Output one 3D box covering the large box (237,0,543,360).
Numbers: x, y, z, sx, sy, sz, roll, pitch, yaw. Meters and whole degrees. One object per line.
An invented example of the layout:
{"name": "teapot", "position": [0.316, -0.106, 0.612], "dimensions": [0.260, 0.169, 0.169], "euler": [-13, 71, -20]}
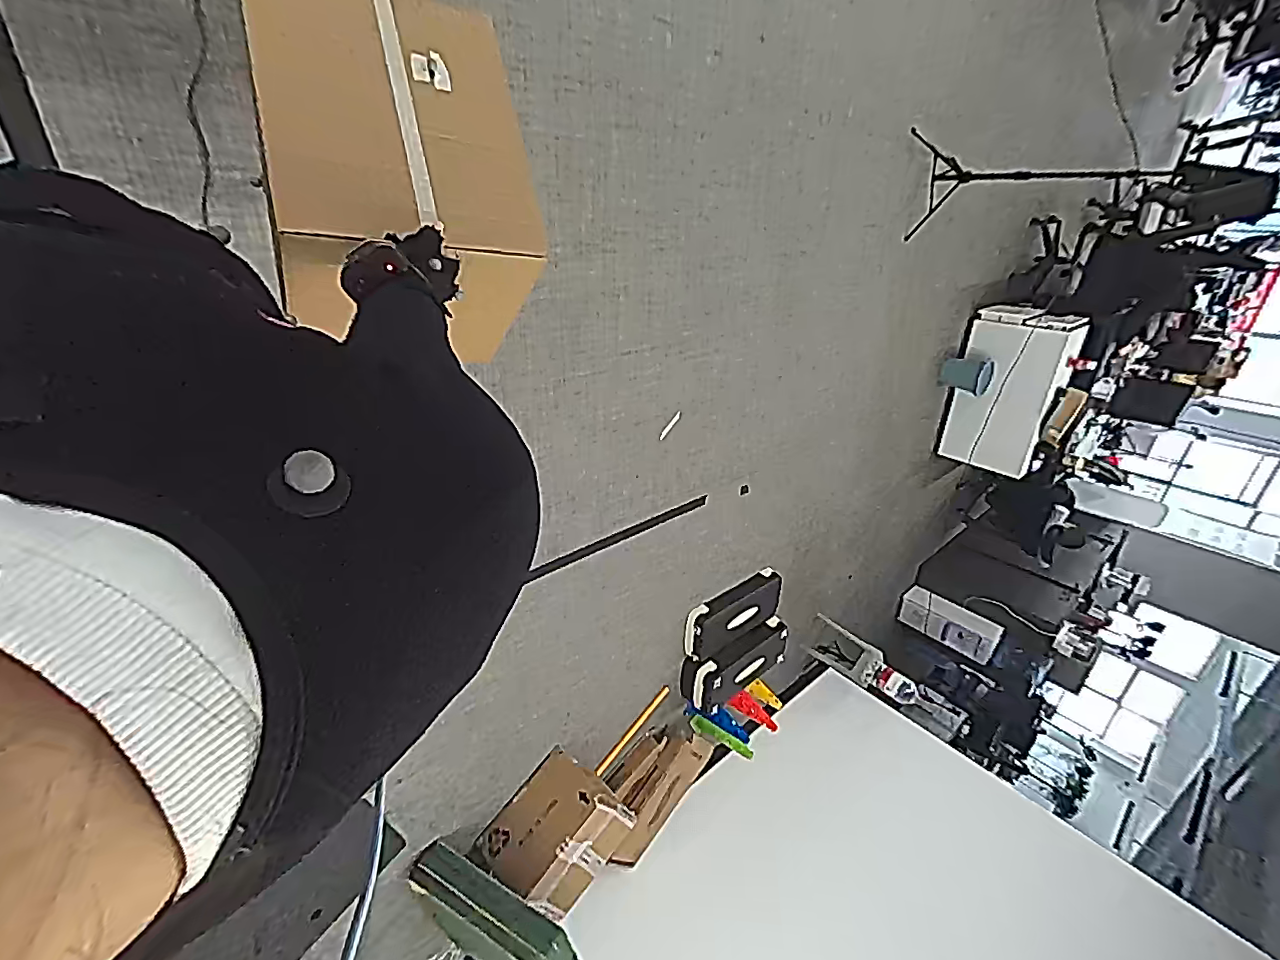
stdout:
{"name": "large box", "position": [-0.385, -0.435, 0.825], "dimensions": [0.320, 0.320, 0.408], "euler": [-9, 78, -34]}
